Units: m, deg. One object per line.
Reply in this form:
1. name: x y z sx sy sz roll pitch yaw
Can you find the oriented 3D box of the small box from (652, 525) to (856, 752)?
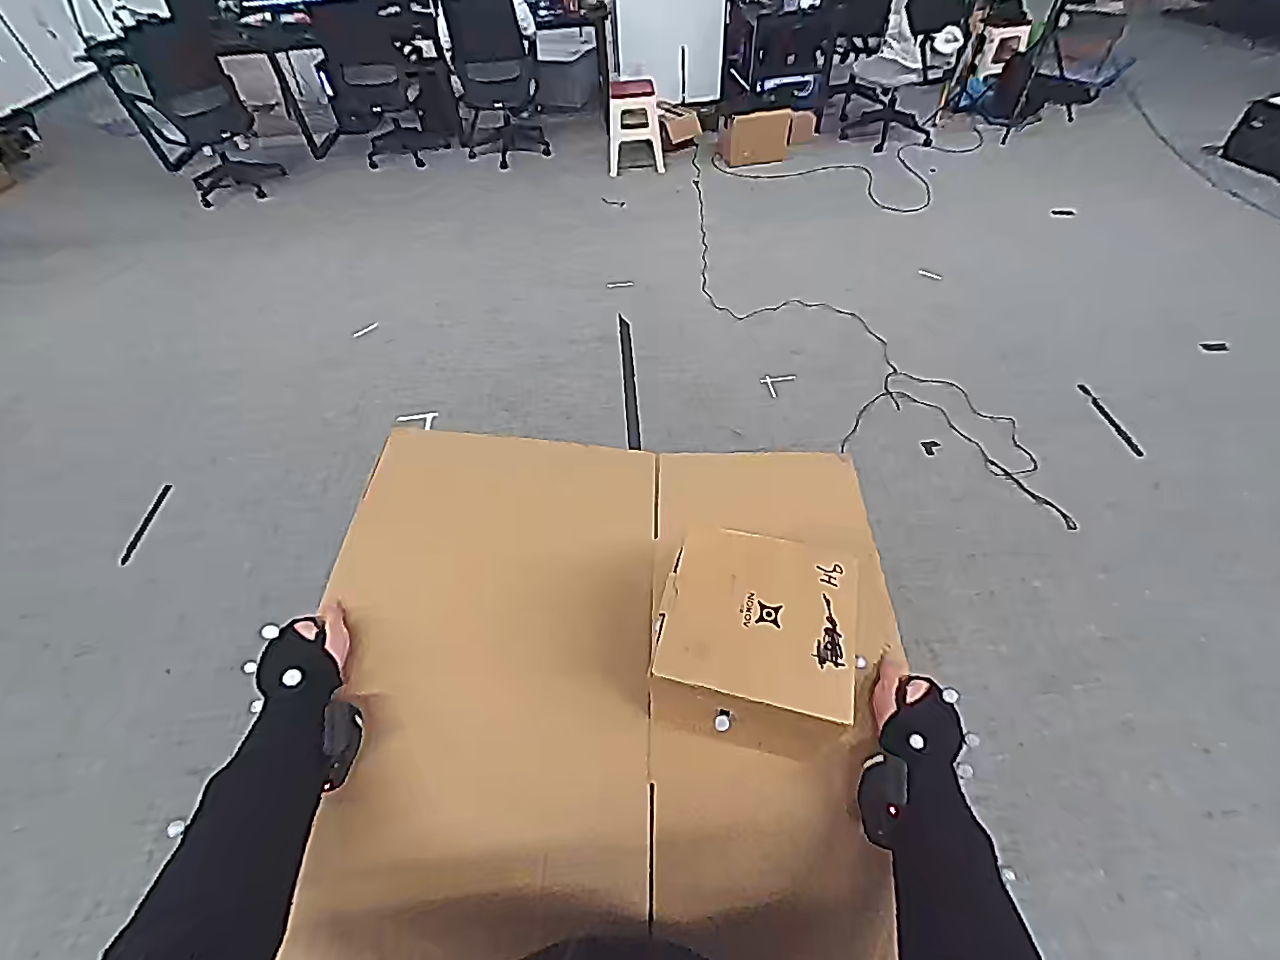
1. small box: 0.120 0.173 0.580 0.179 0.176 0.168 9 54 12
